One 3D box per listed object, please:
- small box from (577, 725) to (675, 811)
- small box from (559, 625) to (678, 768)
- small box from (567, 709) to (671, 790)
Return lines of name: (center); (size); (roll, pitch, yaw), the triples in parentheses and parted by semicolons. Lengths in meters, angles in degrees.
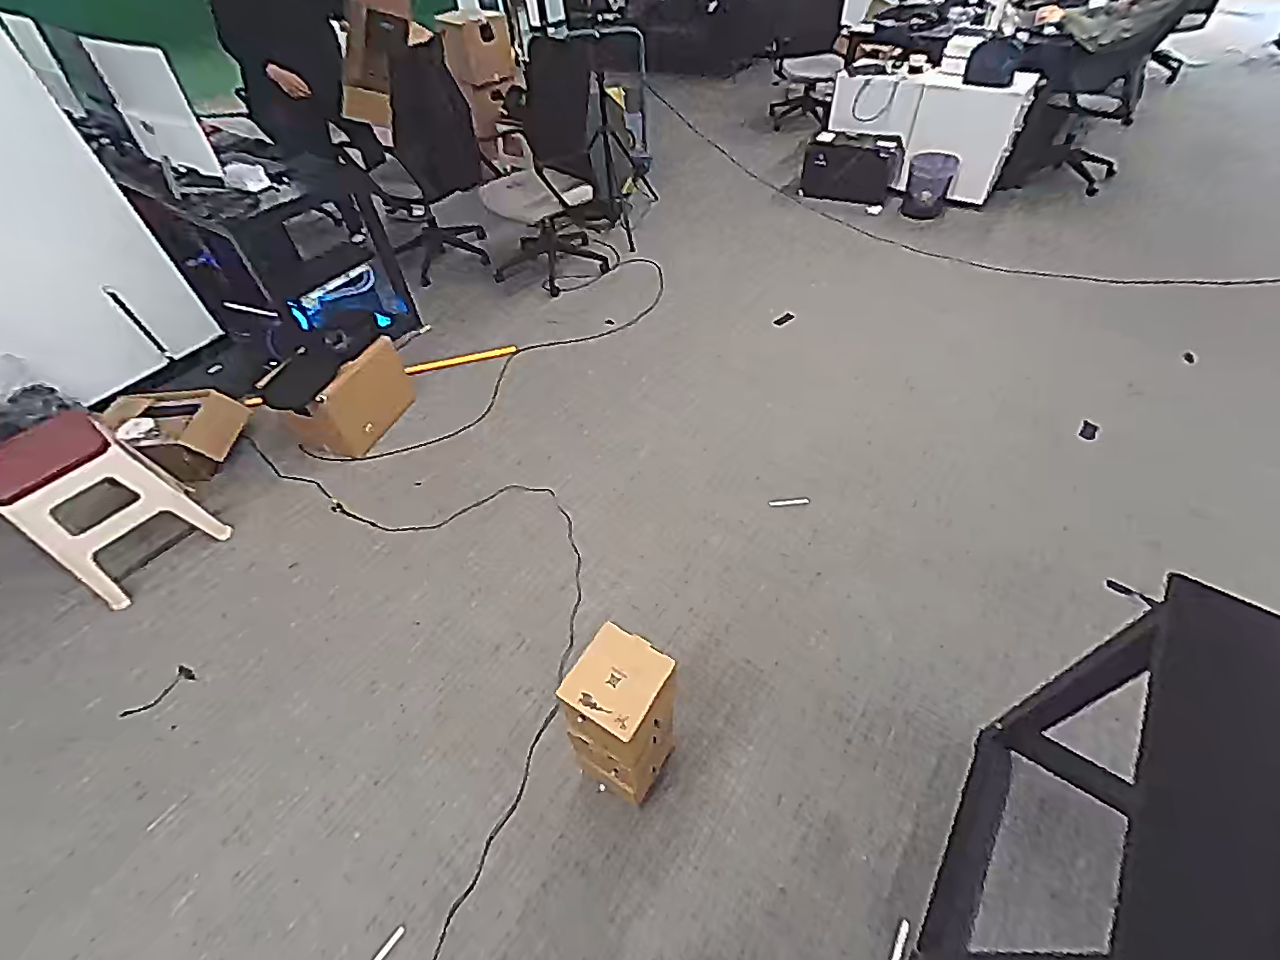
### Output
small box: (-0.029, 0.660, 1.311); (0.168, 0.176, 0.179); (24, 55, 23)
small box: (-0.038, 0.431, 1.077); (0.168, 0.176, 0.179); (24, 53, 23)
small box: (-0.036, 0.547, 1.194); (0.168, 0.176, 0.179); (21, 52, 21)
